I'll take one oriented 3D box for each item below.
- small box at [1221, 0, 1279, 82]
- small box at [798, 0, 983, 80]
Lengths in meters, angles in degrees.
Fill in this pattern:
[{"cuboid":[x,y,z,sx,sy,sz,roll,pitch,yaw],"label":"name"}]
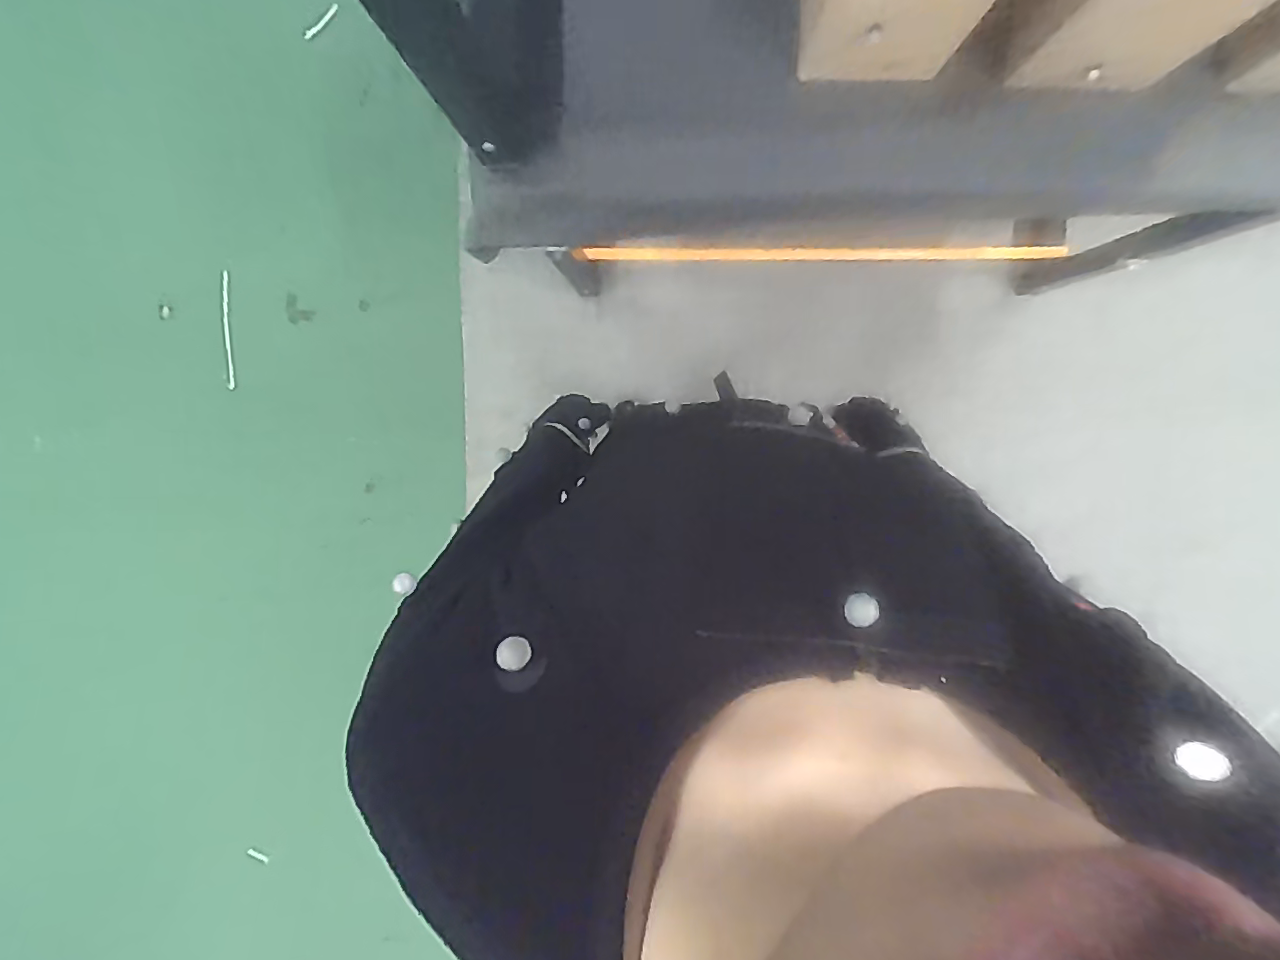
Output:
[{"cuboid":[0.765,-0.540,0.552,0.168,0.176,0.179,0,96,3],"label":"small box"},{"cuboid":[0.273,-0.565,0.579,0.168,0.176,0.179,1,97,3],"label":"small box"}]
